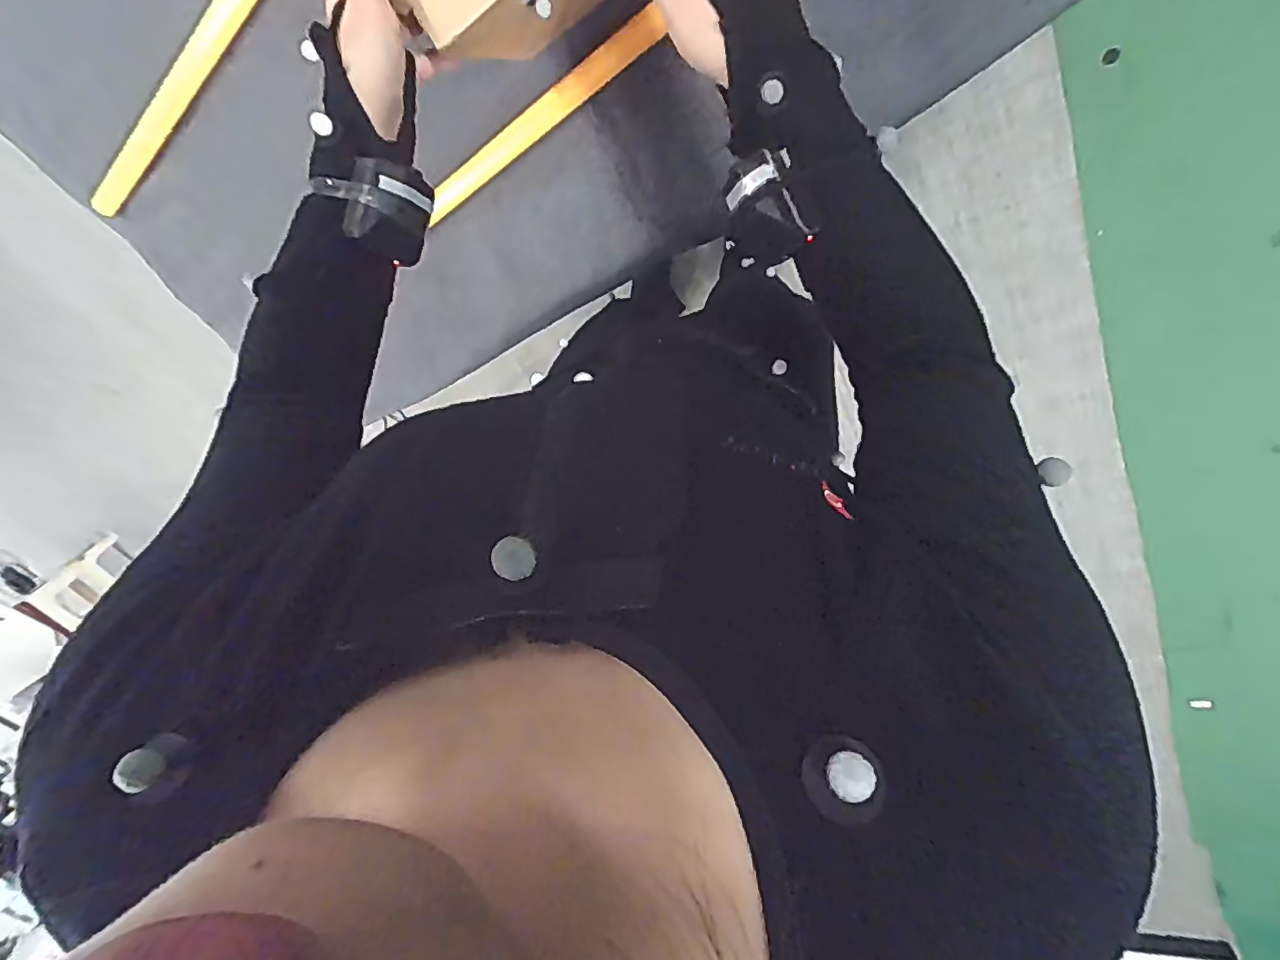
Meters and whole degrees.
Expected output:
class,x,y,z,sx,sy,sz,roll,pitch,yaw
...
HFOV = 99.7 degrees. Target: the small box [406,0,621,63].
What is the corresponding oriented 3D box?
class,x,y,z,sx,sy,sz,roll,pitch,yaw
small box,-0.089,-0.436,0.390,0.179,0.176,0.168,-16,120,27
